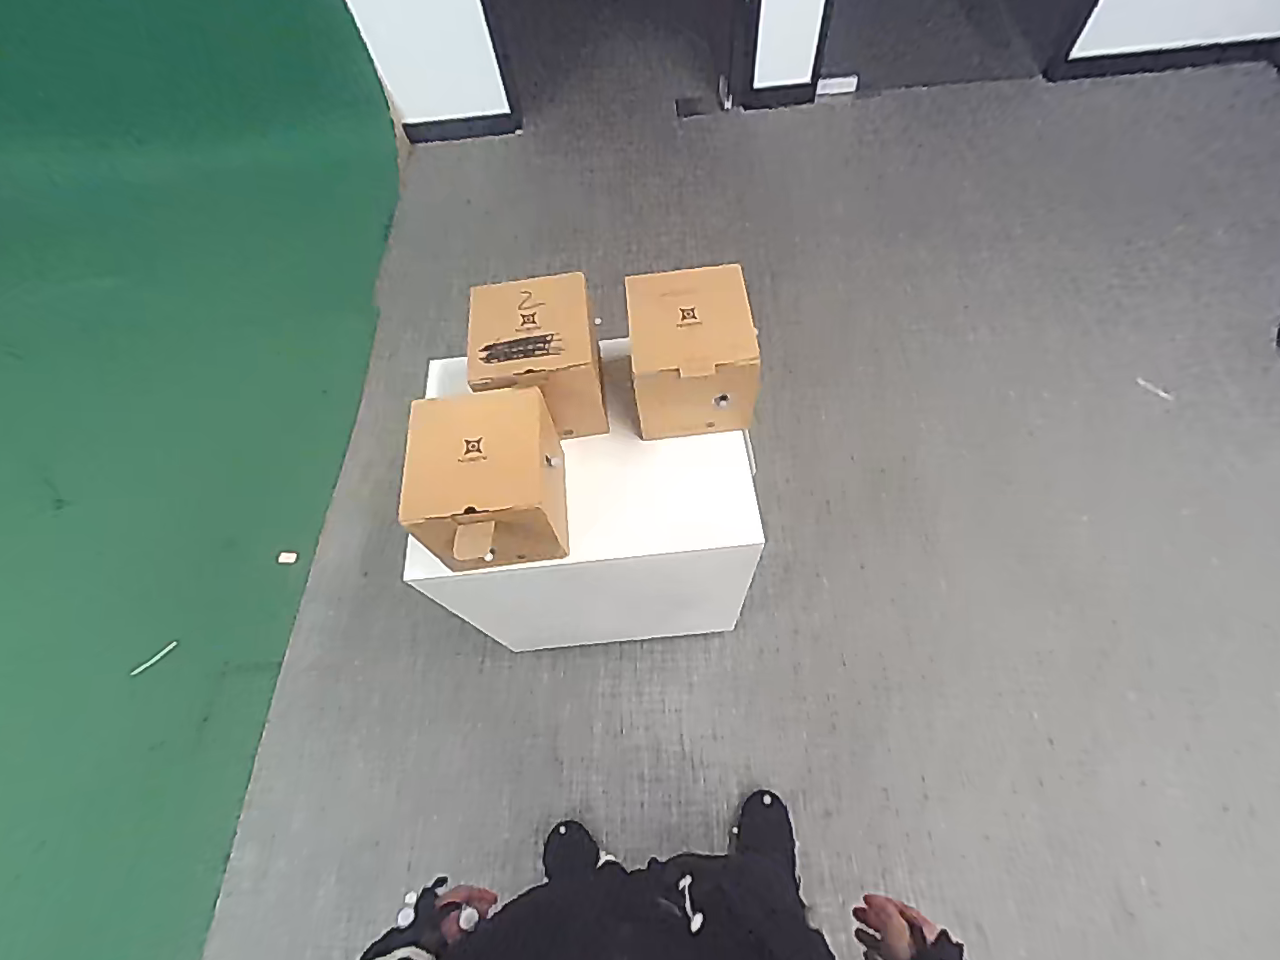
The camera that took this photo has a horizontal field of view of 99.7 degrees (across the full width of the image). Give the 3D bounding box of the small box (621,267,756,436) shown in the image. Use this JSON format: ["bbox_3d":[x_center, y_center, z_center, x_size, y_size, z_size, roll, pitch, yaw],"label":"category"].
[{"bbox_3d":[0.066,-0.176,0.788,0.168,0.176,0.179,-6,62,0],"label":"small box"}]

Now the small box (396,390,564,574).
[{"bbox_3d":[-0.197,0.007,0.714,0.168,0.176,0.179,-7,62,0],"label":"small box"}]
